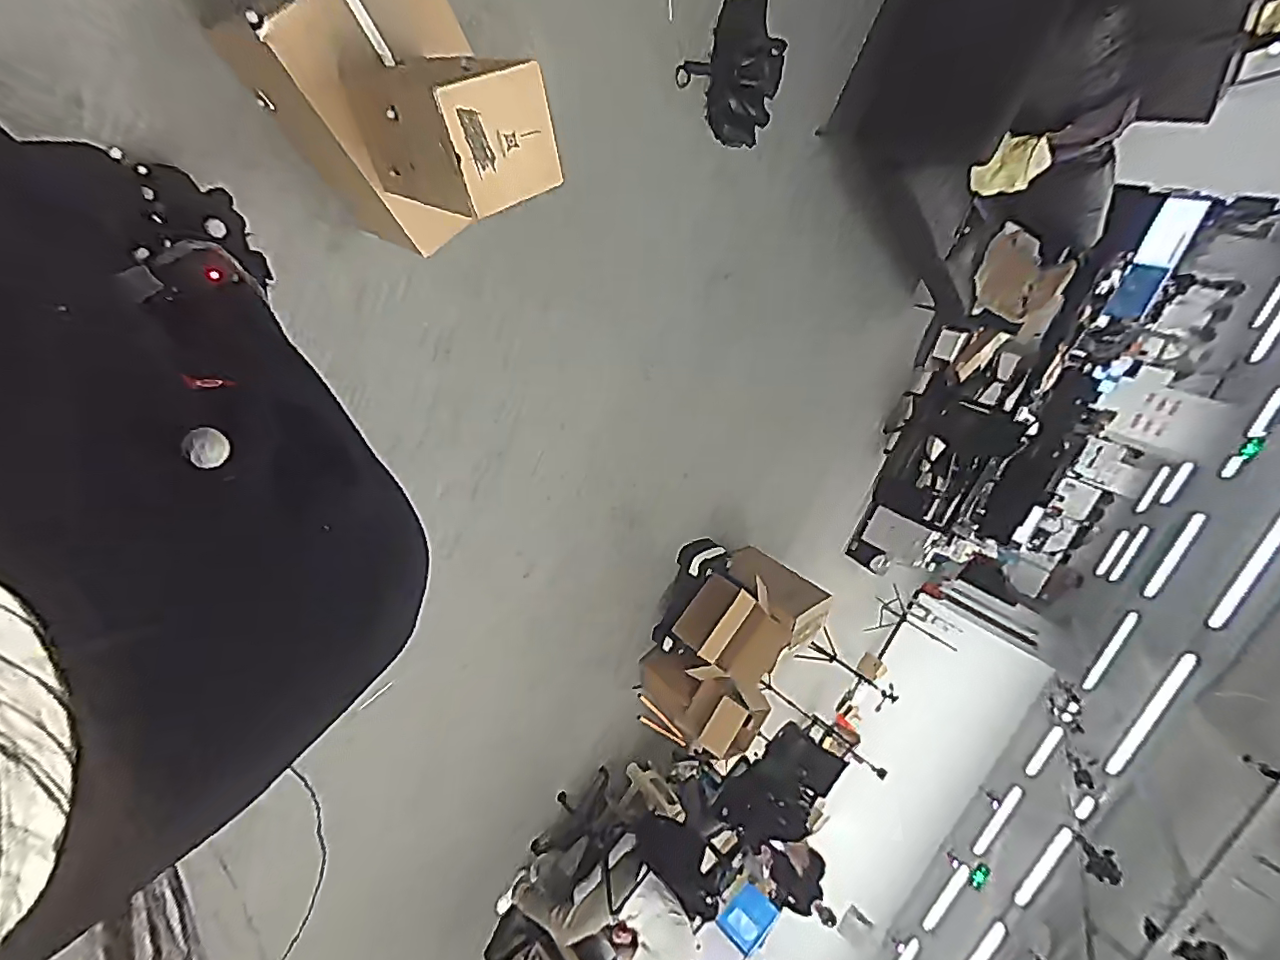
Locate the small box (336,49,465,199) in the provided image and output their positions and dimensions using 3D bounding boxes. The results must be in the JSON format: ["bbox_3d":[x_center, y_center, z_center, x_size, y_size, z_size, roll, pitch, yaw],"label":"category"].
[{"bbox_3d":[-0.372,-0.606,0.918,0.168,0.176,0.179,-40,140,-26],"label":"small box"}]

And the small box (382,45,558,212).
[{"bbox_3d":[-0.260,-0.533,0.821,0.179,0.176,0.168,-40,142,-23],"label":"small box"}]
